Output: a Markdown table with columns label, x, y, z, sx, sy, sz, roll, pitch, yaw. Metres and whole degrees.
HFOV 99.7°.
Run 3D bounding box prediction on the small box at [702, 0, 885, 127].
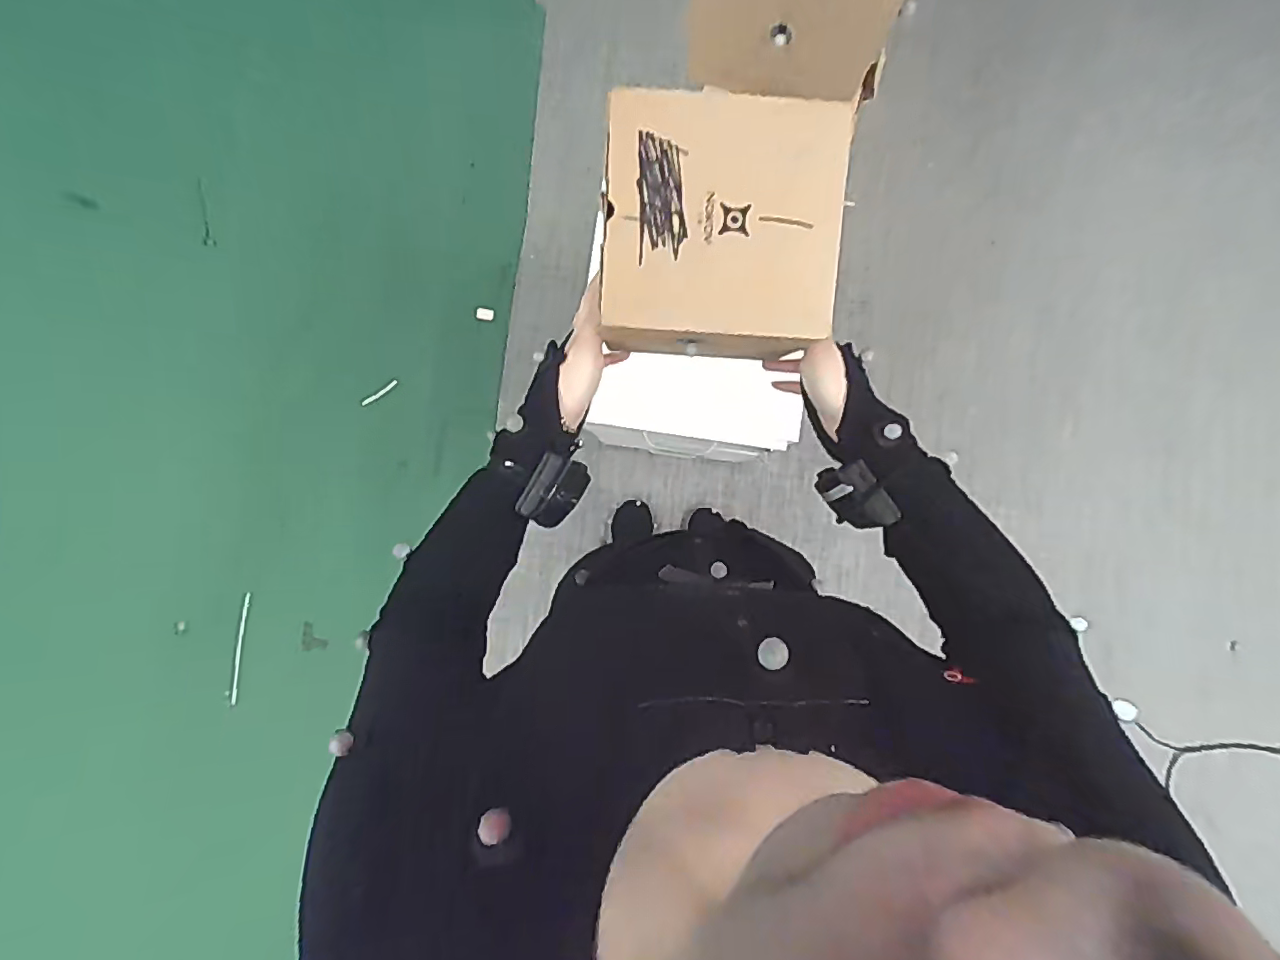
| label | x | y | z | sx | sy | sz | roll | pitch | yaw |
| --- | --- | --- | --- | --- | --- | --- | --- | --- | --- |
| small box | 0.170 | -0.480 | 0.677 | 0.179 | 0.176 | 0.168 | 15 | 89 | 1 |

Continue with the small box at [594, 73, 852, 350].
| label | x | y | z | sx | sy | sz | roll | pitch | yaw |
| --- | --- | --- | --- | --- | --- | --- | --- | --- | --- |
| small box | 0.057 | -0.208 | 0.467 | 0.179 | 0.176 | 0.168 | 3 | 98 | -2 |
